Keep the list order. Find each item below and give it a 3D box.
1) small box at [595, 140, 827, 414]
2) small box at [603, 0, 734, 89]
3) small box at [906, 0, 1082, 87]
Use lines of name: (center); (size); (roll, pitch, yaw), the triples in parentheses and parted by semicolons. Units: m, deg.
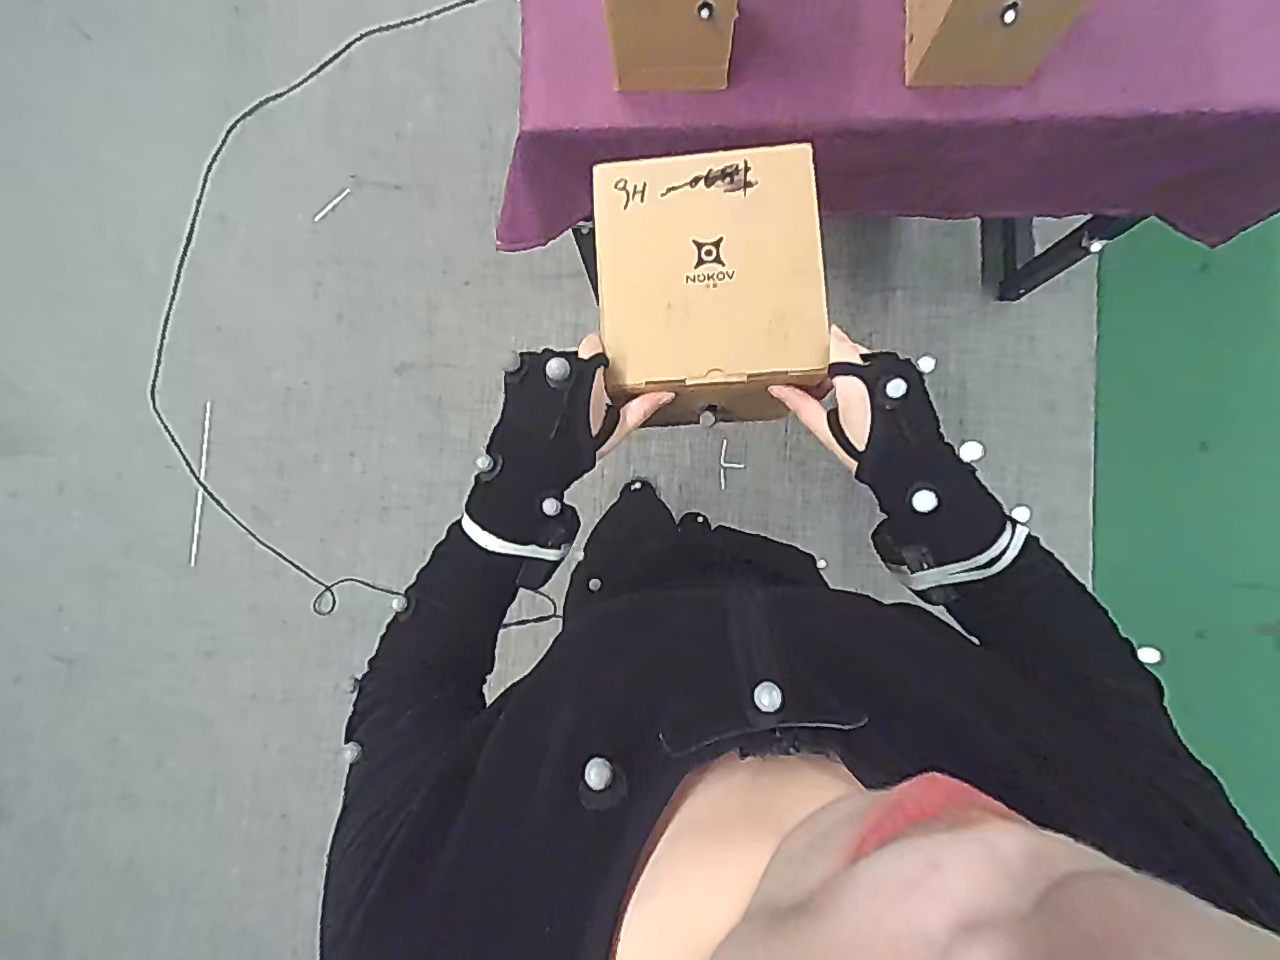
small box: (0.056, -0.156, 0.478); (0.168, 0.176, 0.179); (-3, 86, 3)
small box: (0.040, -0.684, 0.753); (0.179, 0.176, 0.168); (1, 86, 2)
small box: (0.479, -0.671, 0.730); (0.179, 0.176, 0.168); (3, 87, 3)
